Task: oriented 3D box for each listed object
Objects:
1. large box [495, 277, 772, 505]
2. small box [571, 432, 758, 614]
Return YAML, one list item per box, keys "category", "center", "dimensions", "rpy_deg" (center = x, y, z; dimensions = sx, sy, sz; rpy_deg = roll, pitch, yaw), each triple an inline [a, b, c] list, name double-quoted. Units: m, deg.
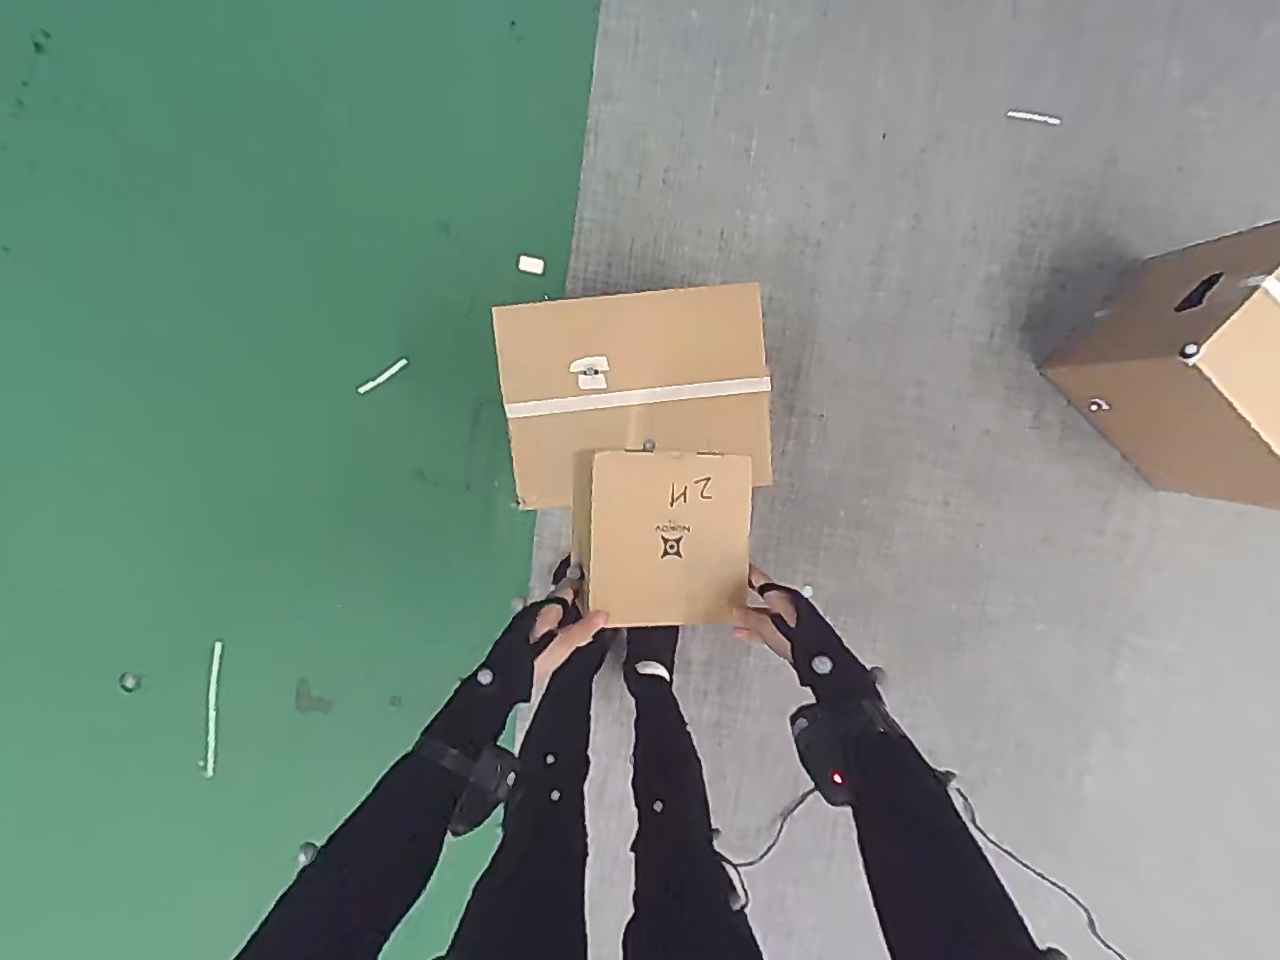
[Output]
- category: "large box"
  center: [-0.006, -0.153, 0.970]
  dimensions: [0.408, 0.320, 0.320]
  rpy_deg: [-5, 97, 0]
- category: "small box"
  center: [0.016, 0.042, 0.611]
  dimensions: [0.168, 0.176, 0.179]
  rpy_deg: [3, 91, -15]
